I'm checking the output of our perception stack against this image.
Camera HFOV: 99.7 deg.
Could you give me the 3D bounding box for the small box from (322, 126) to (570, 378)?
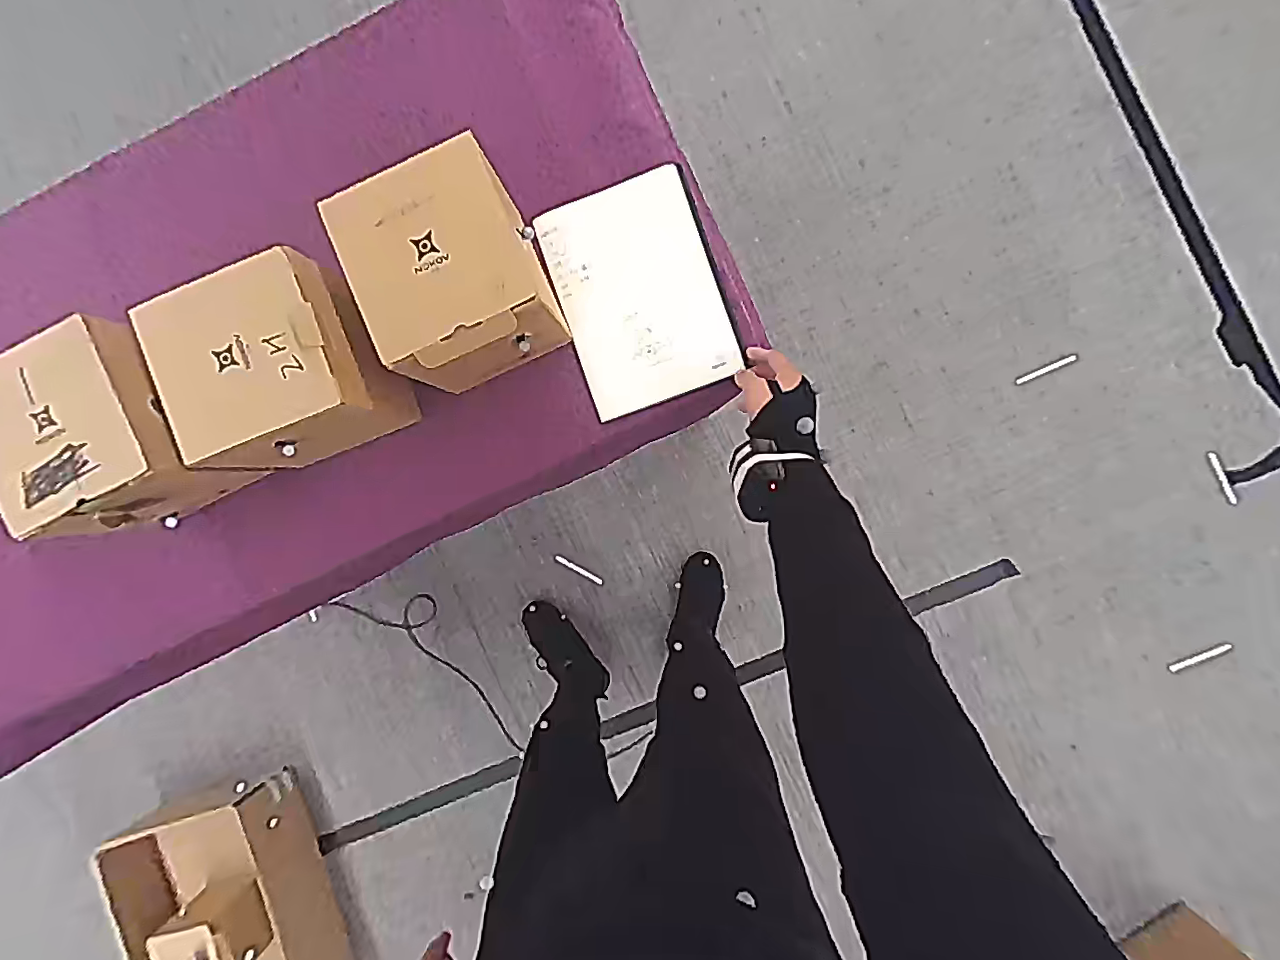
[{"bbox_3d":[-0.191,-0.223,0.588,0.168,0.176,0.179,-23,89,3],"label":"small box"}]
